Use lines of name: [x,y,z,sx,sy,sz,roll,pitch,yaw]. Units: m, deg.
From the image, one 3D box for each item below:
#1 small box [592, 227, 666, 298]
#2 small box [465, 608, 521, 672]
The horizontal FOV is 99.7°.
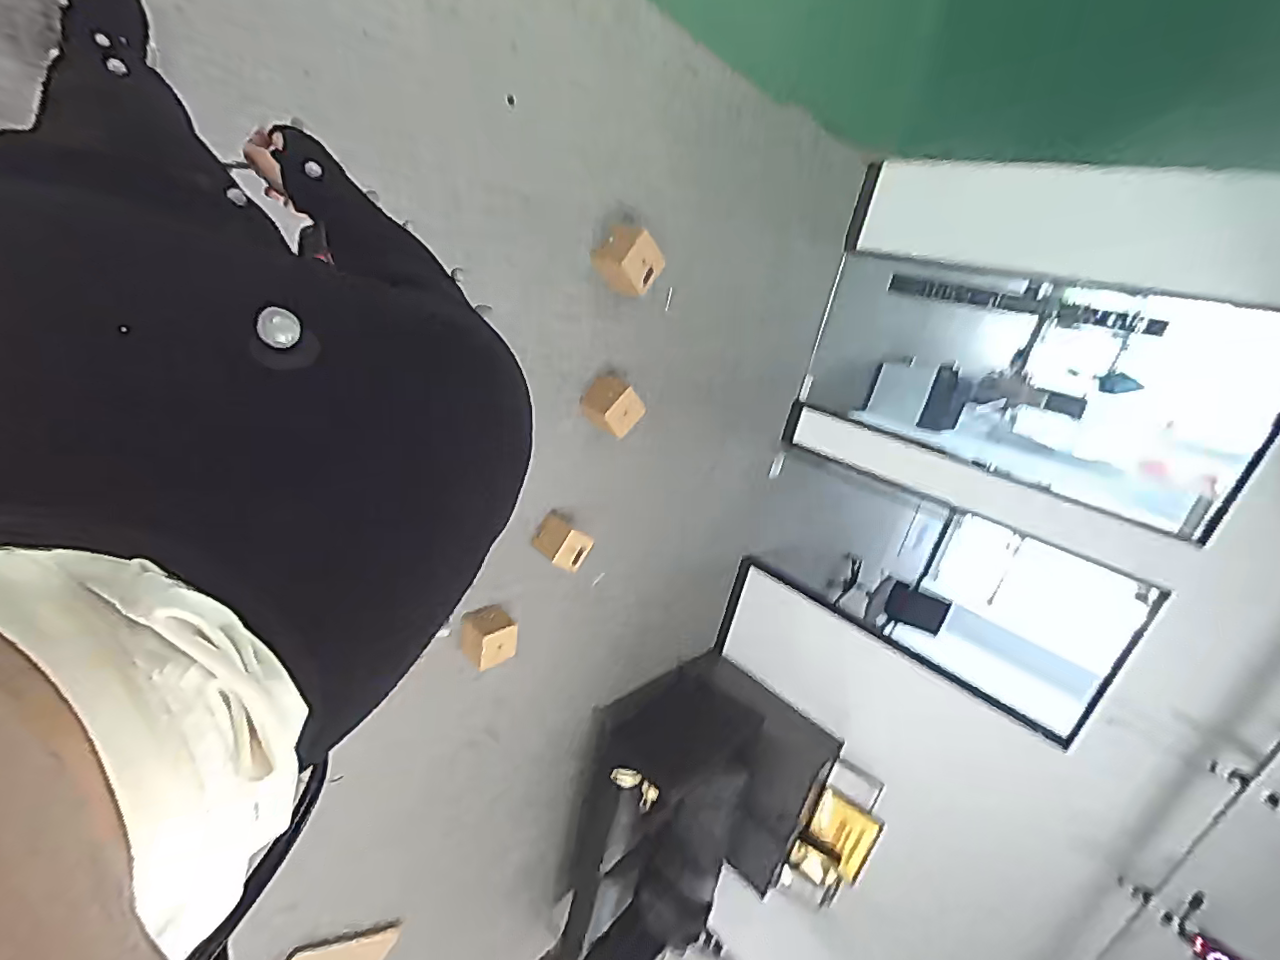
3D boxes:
small box: [-0.042,-0.807,1.991,0.168,0.176,0.179,-57,142,-6]
small box: [-0.619,0.656,2.259,0.168,0.176,0.179,-13,123,-44]
